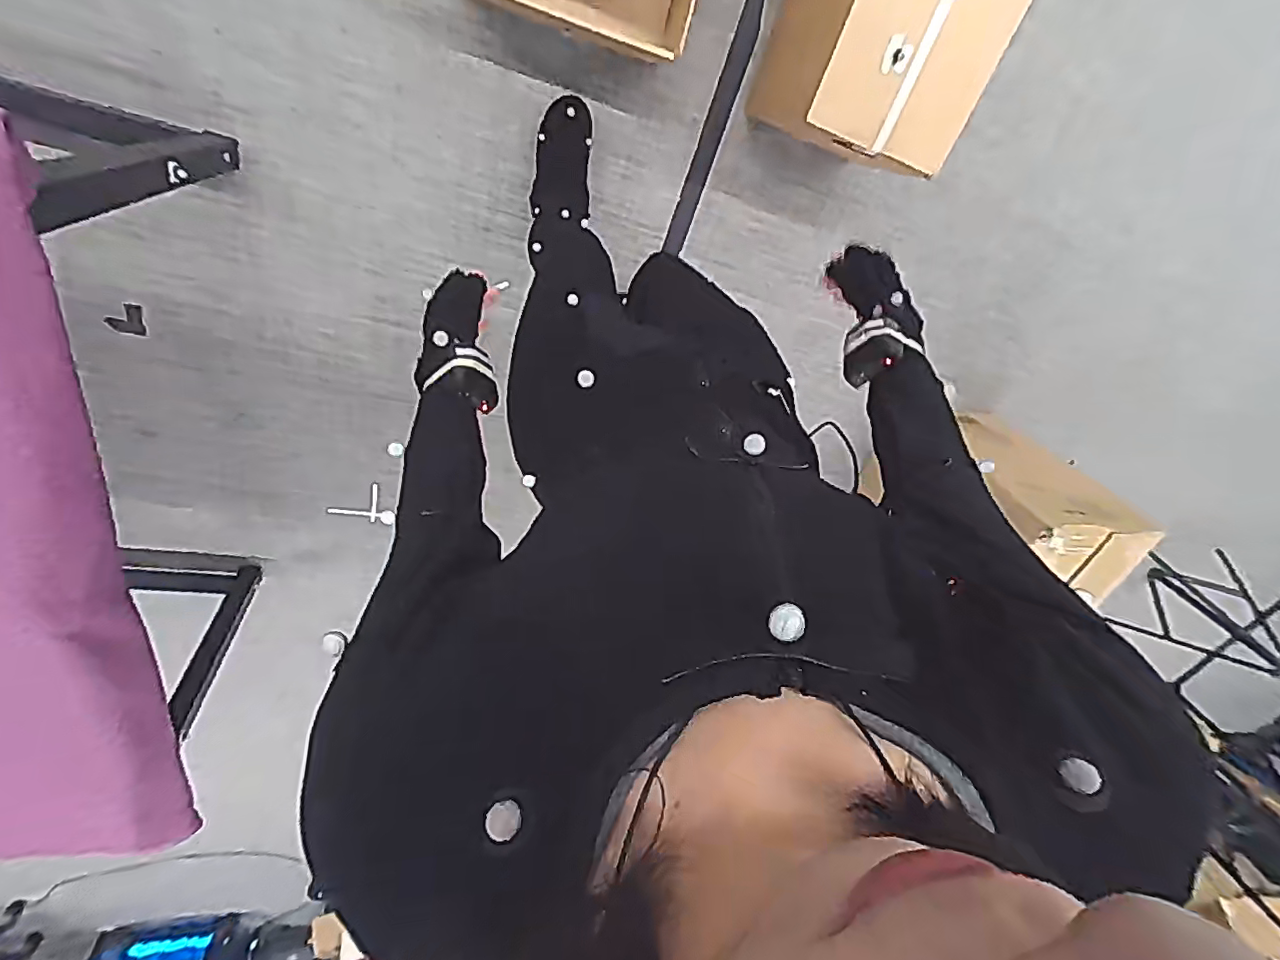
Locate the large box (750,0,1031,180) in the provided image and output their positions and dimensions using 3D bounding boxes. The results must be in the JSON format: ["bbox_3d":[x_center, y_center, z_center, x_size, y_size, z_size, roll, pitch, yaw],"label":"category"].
[{"bbox_3d":[0.465,-0.855,1.021,0.320,0.320,0.408,9,124,-19],"label":"large box"}]
